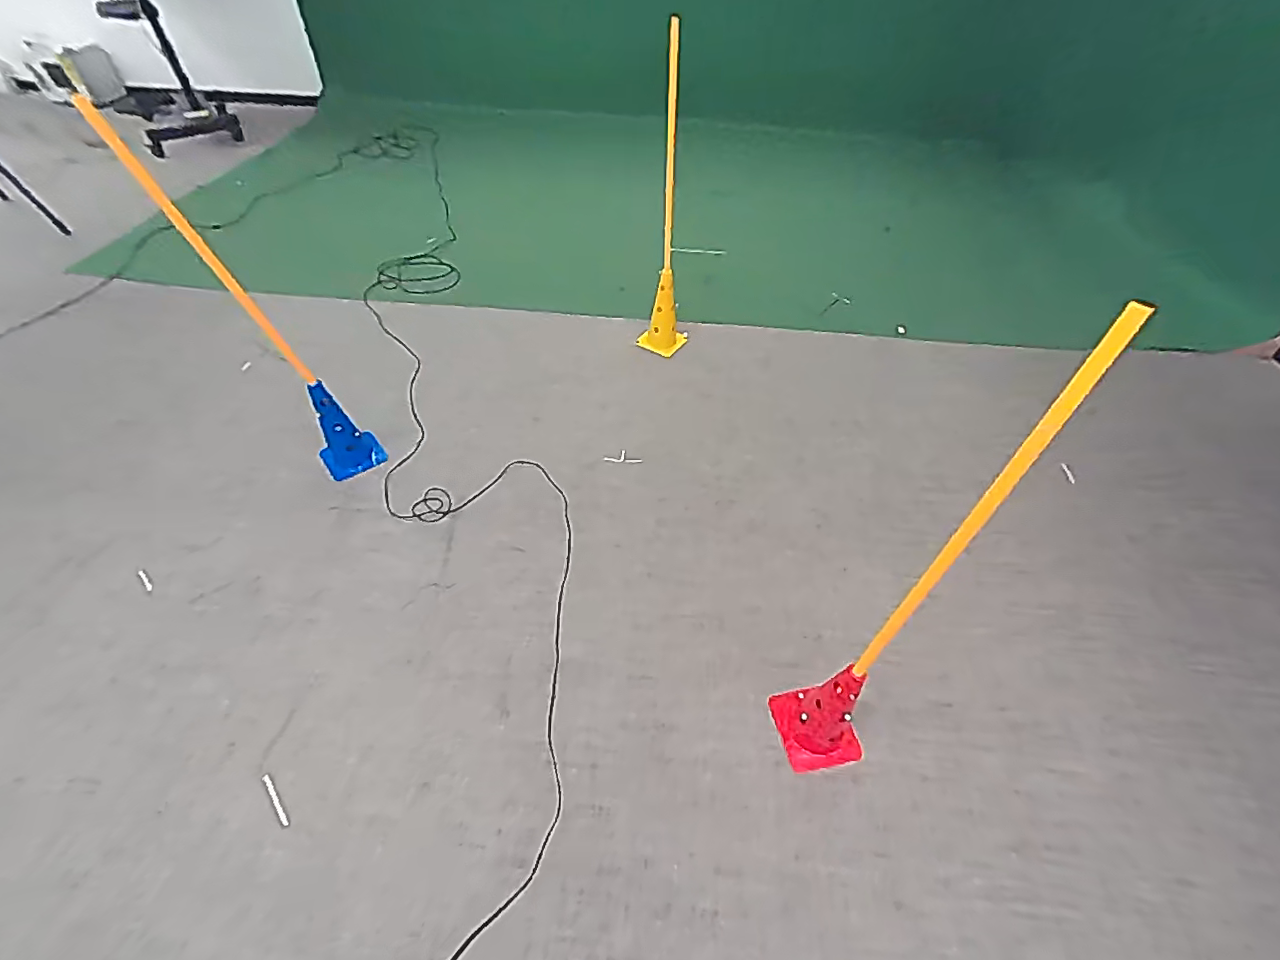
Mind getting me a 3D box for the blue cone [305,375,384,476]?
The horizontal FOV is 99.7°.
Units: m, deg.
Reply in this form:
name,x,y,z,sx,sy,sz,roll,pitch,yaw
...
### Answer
name,x,y,z,sx,sy,sz,roll,pitch,yaw
blue cone,-1.075,-0.206,1.903,0.193,0.380,0.192,-33,58,-25
